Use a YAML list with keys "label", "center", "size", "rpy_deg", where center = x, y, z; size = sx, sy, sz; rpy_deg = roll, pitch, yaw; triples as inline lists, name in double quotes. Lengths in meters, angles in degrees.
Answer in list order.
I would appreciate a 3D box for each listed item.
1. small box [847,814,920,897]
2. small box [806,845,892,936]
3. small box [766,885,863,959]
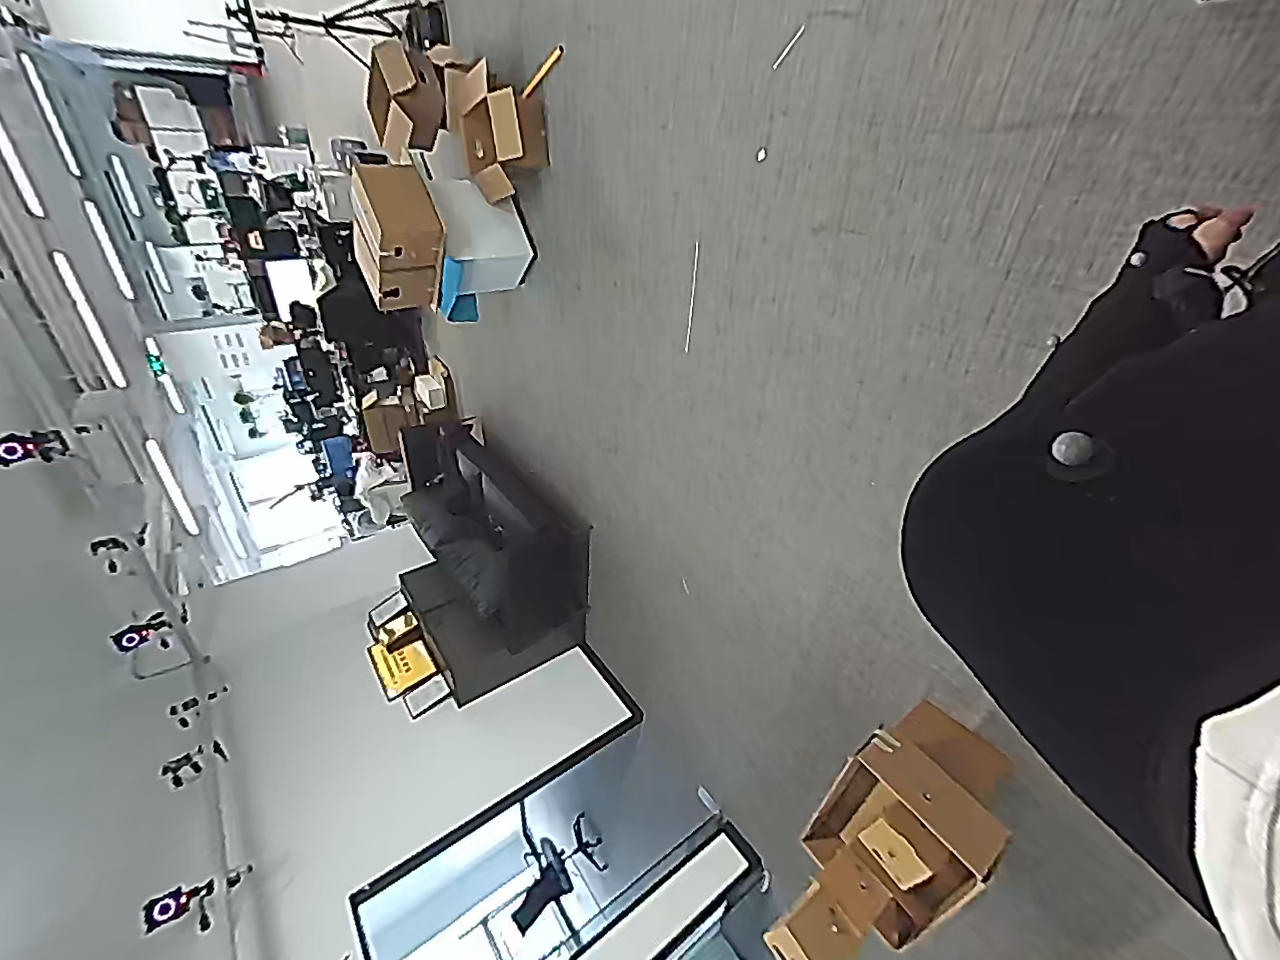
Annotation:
- label: "small box"
  center: [0.753, 1.217, 1.720]
  size: [0.168, 0.176, 0.179]
  rpy_deg: [39, 135, 39]
- label: "small box"
  center: [0.625, 1.258, 1.630]
  size: [0.168, 0.176, 0.179]
  rpy_deg: [39, 134, 40]
- label: "small box"
  center: [0.497, 1.308, 1.539]
  size: [0.168, 0.176, 0.179]
  rpy_deg: [47, 139, 32]
